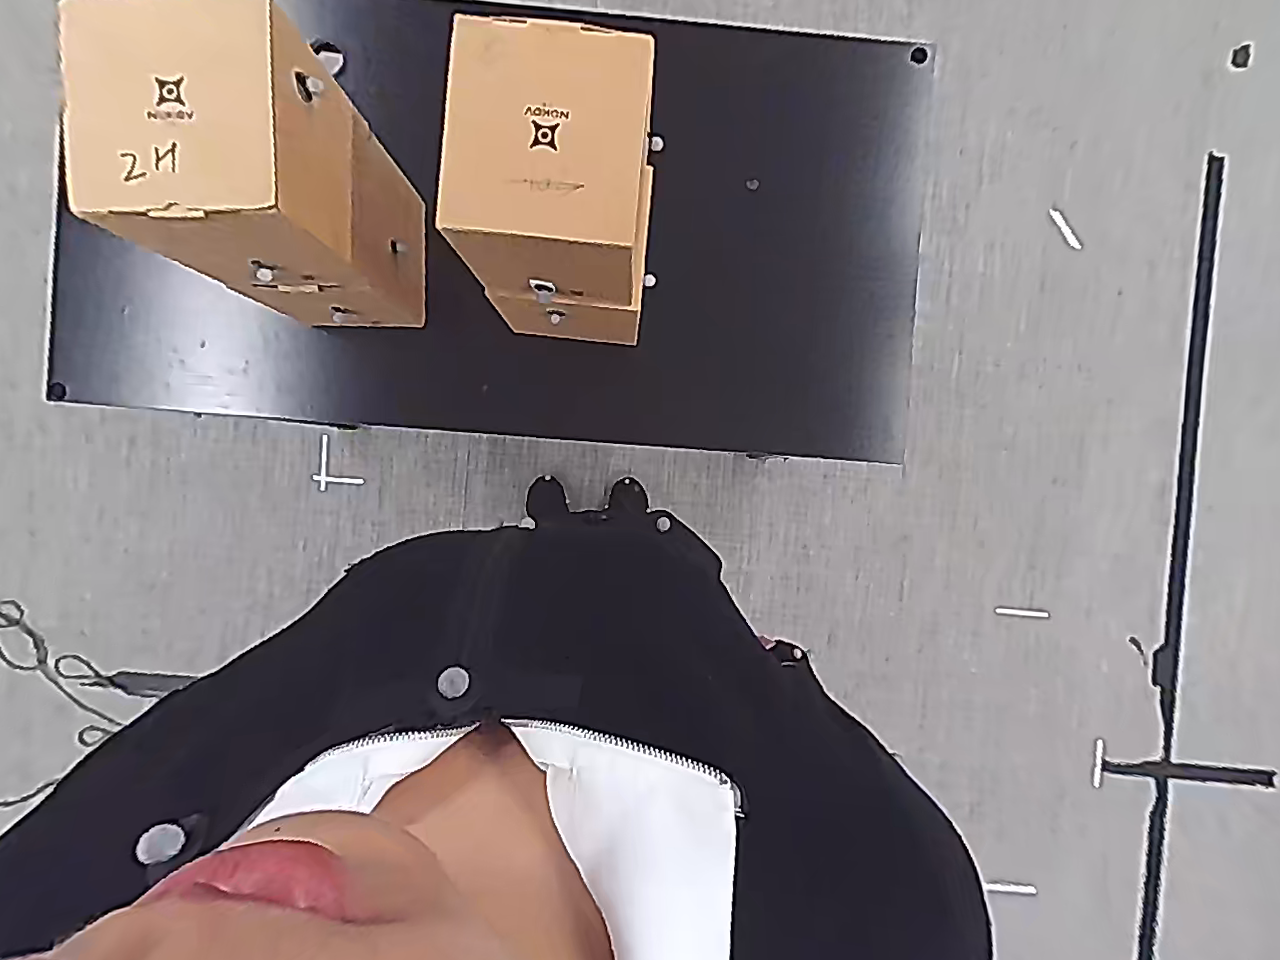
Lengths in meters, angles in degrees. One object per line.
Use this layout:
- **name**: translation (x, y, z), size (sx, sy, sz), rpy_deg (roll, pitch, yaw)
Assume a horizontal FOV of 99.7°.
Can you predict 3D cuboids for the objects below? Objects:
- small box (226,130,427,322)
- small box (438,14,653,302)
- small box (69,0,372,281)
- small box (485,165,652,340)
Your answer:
- **small box**: translation (-0.381, -0.305, 0.682), size (0.168, 0.176, 0.179), rpy_deg (0, 91, -1)
- **small box**: translation (-0.080, -0.292, 0.527), size (0.168, 0.176, 0.179), rpy_deg (5, 91, 0)
- **small box**: translation (-0.376, -0.307, 0.516), size (0.168, 0.176, 0.179), rpy_deg (-1, 91, -1)
- **small box**: translation (-0.083, -0.285, 0.689), size (0.179, 0.176, 0.168), rpy_deg (6, 91, -2)
